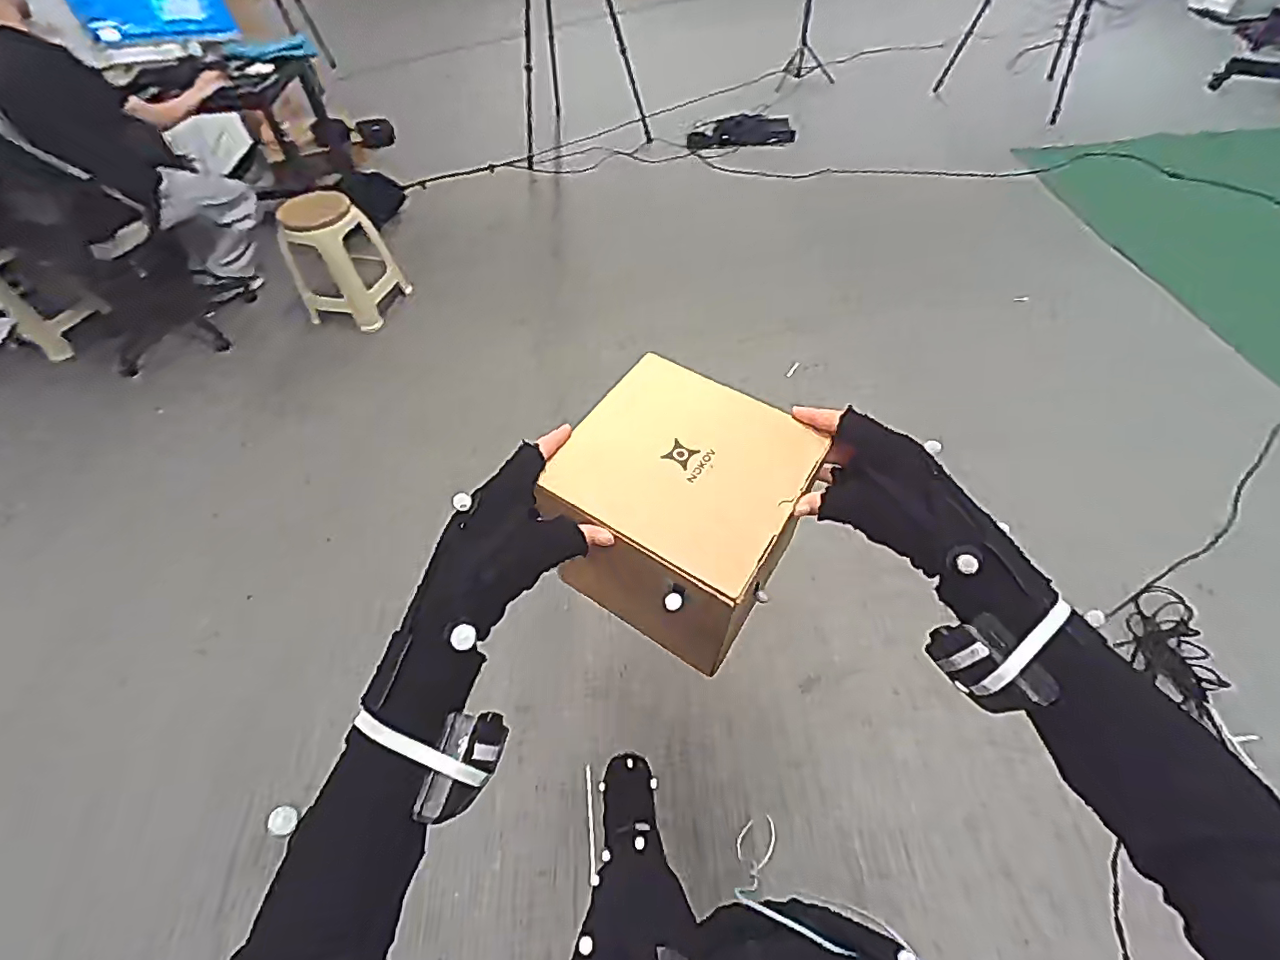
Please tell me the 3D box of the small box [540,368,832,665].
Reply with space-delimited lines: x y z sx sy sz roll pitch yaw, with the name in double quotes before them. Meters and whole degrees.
"small box" 0.037 0.037 0.485 0.179 0.176 0.168 29 59 19
